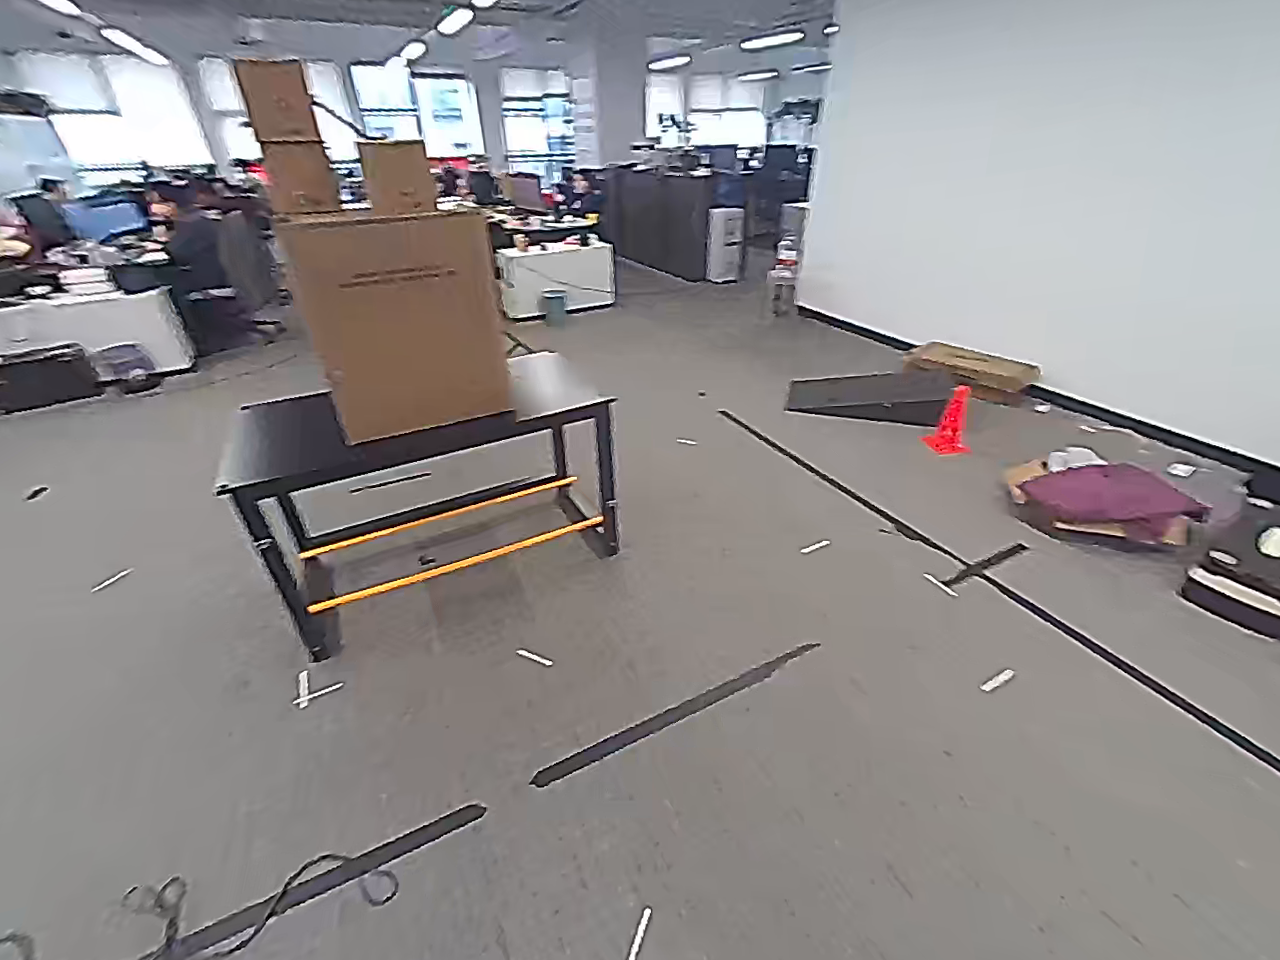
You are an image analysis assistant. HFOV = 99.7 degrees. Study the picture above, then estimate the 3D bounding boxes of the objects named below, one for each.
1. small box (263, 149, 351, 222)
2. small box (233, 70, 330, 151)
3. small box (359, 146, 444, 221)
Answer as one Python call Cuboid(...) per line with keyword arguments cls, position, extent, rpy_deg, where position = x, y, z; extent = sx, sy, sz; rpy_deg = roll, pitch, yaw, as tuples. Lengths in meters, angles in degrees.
Cuboid(cls="small box", position=(-0.924, -0.819, 1.501), extent=(0.168, 0.176, 0.179), rpy_deg=(-20, 37, -26))
Cuboid(cls="small box", position=(-0.922, -0.950, 1.401), extent=(0.168, 0.176, 0.179), rpy_deg=(-18, 36, -25))
Cuboid(cls="small box", position=(-0.657, -0.819, 1.491), extent=(0.168, 0.176, 0.179), rpy_deg=(-19, 37, -23))
